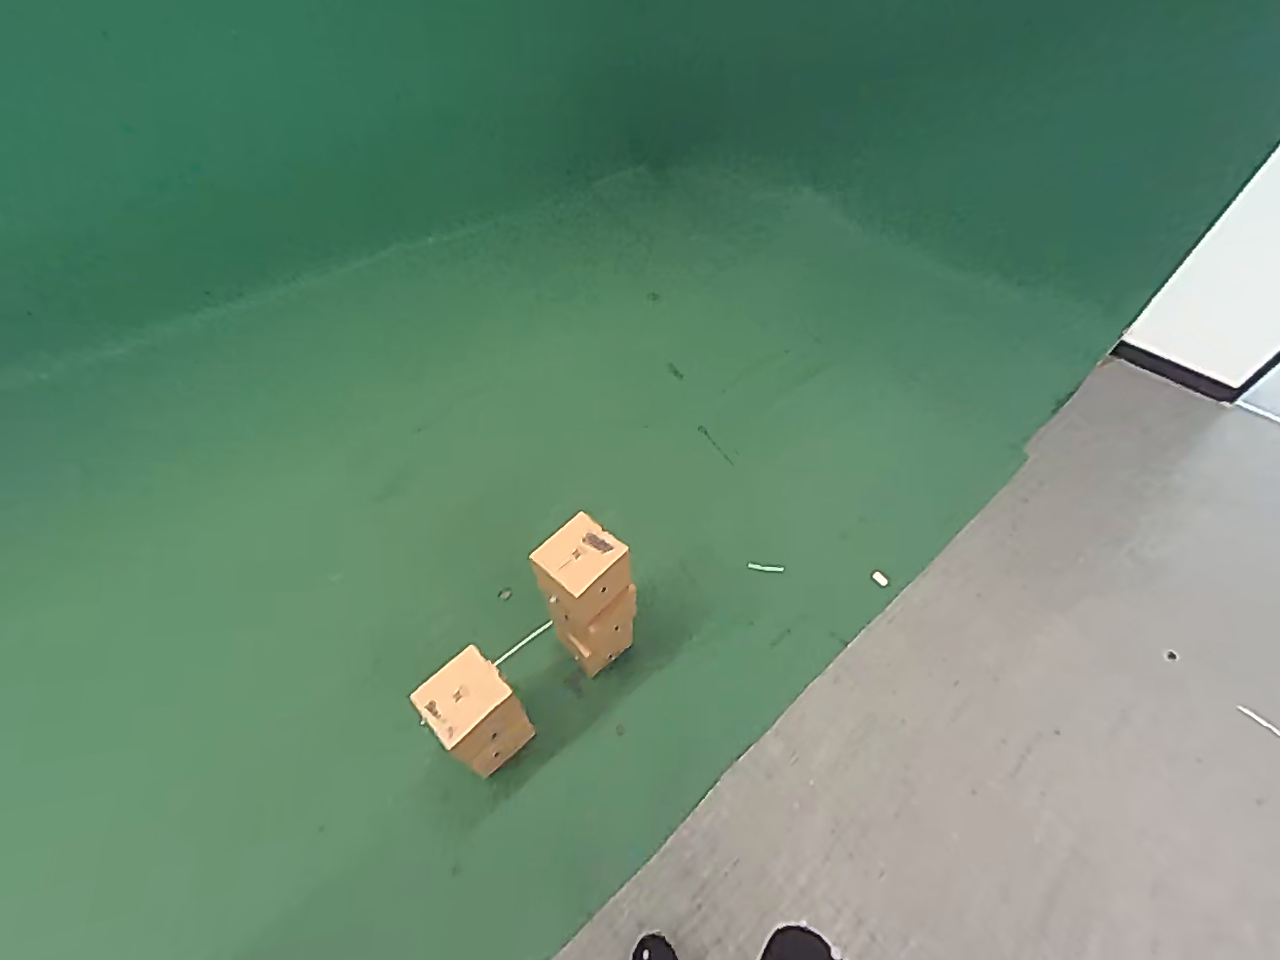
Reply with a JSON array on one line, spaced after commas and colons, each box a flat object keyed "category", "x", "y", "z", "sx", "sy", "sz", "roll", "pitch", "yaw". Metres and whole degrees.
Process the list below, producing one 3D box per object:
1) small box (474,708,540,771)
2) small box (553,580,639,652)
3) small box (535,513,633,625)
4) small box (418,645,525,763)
[{"category": "small box", "x": -0.387, "y": 0.641, "z": 1.432, "sx": 0.168, "sy": 0.176, "sz": 0.179, "roll": -36, "pitch": 59, "yaw": -23}, {"category": "small box", "x": -0.118, "y": 0.333, "z": 1.462, "sx": 0.179, "sy": 0.176, "sz": 0.168, "roll": 33, "pitch": 59, "yaw": 24}, {"category": "small box", "x": -0.134, "y": 0.221, "z": 1.340, "sx": 0.168, "sy": 0.176, "sz": 0.179, "roll": 35, "pitch": 60, "yaw": 25}, {"category": "small box", "x": -0.395, "y": 0.541, "z": 1.303, "sx": 0.179, "sy": 0.176, "sz": 0.168, "roll": -38, "pitch": 59, "yaw": -26}]
